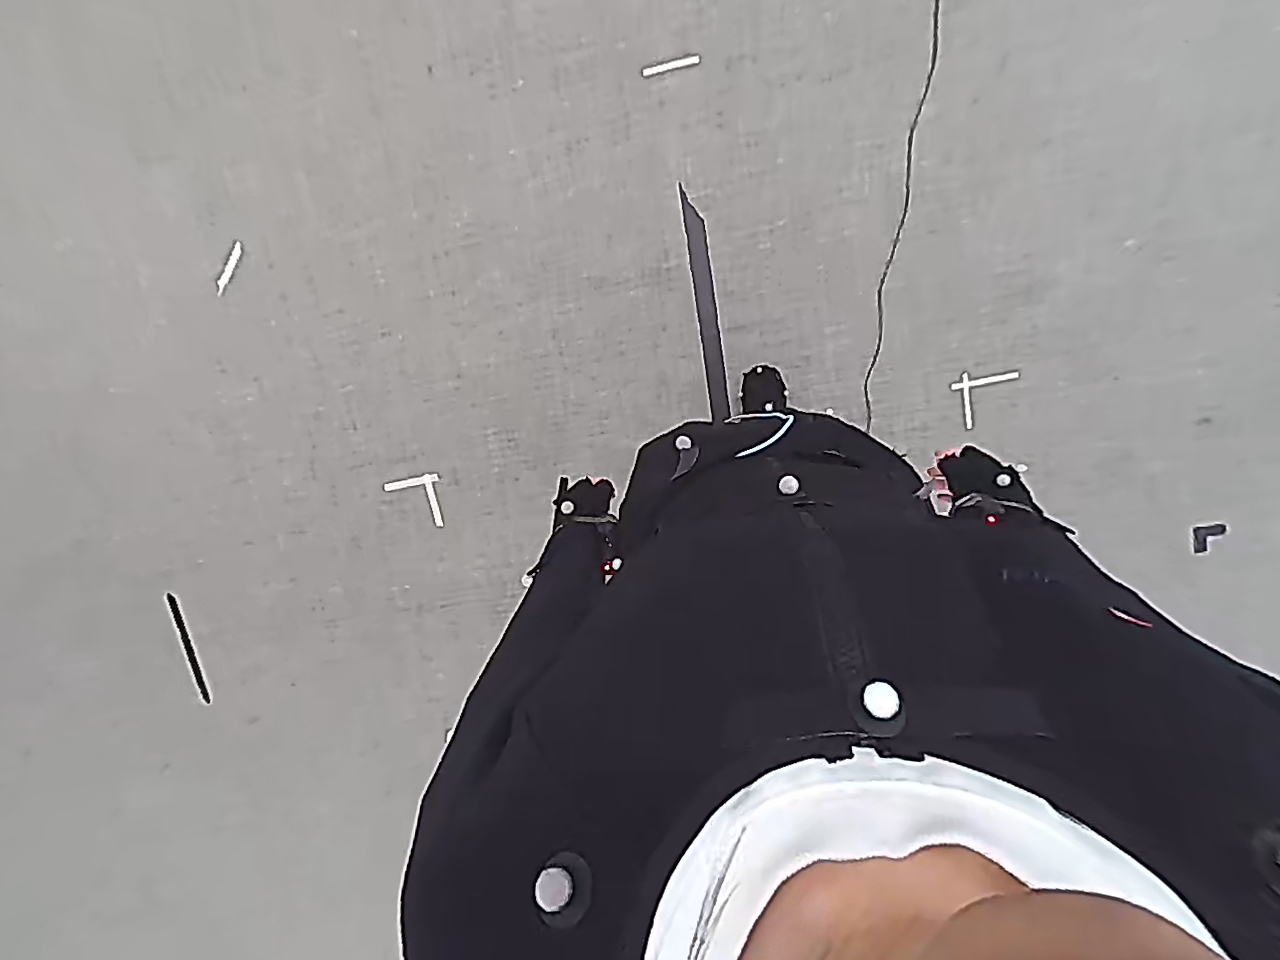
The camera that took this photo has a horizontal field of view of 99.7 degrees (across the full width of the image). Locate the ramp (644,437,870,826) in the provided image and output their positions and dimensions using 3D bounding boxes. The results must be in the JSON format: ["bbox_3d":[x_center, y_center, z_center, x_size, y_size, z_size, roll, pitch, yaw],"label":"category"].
[{"bbox_3d":[0.297,0.408,1.433,0.509,0.206,0.991,-8,99,10],"label":"ramp"}]
